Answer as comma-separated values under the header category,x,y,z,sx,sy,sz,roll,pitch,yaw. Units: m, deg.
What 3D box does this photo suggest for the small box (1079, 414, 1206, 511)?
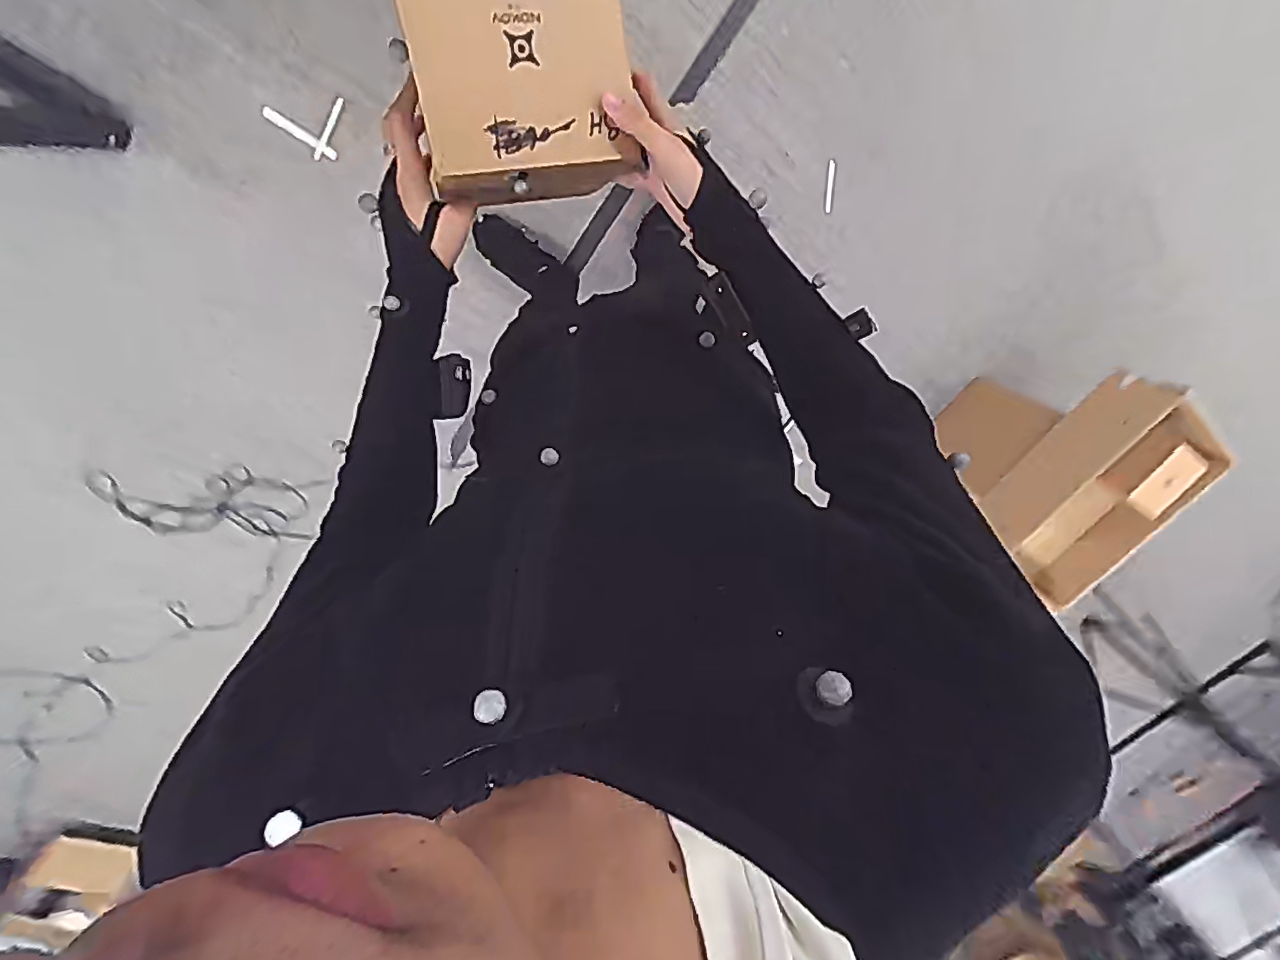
category,x,y,z,sx,sy,sz,roll,pitch,yaw
small box,1.361,-0.051,1.482,0.168,0.176,0.179,23,111,-24

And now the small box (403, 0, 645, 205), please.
category,x,y,z,sx,sy,sz,roll,pitch,yaw
small box,-0.106,-0.355,0.471,0.168,0.176,0.179,-13,111,-14
